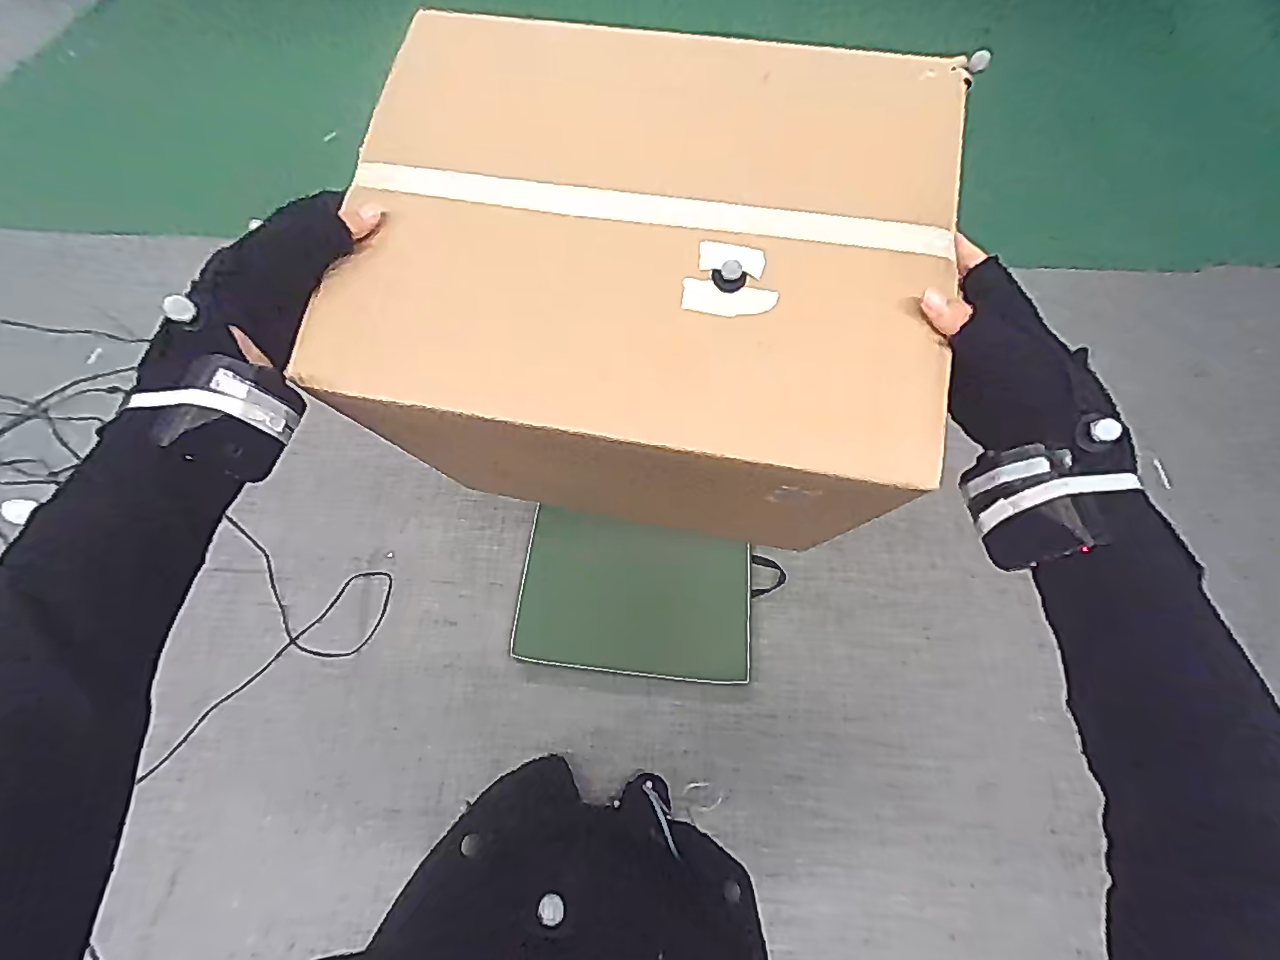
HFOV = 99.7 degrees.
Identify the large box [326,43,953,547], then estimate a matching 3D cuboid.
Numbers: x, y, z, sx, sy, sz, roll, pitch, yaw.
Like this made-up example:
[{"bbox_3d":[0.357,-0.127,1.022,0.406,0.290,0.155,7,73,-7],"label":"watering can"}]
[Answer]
[{"bbox_3d":[0.014,-0.135,0.522,0.408,0.320,0.320,10,77,5],"label":"large box"}]
